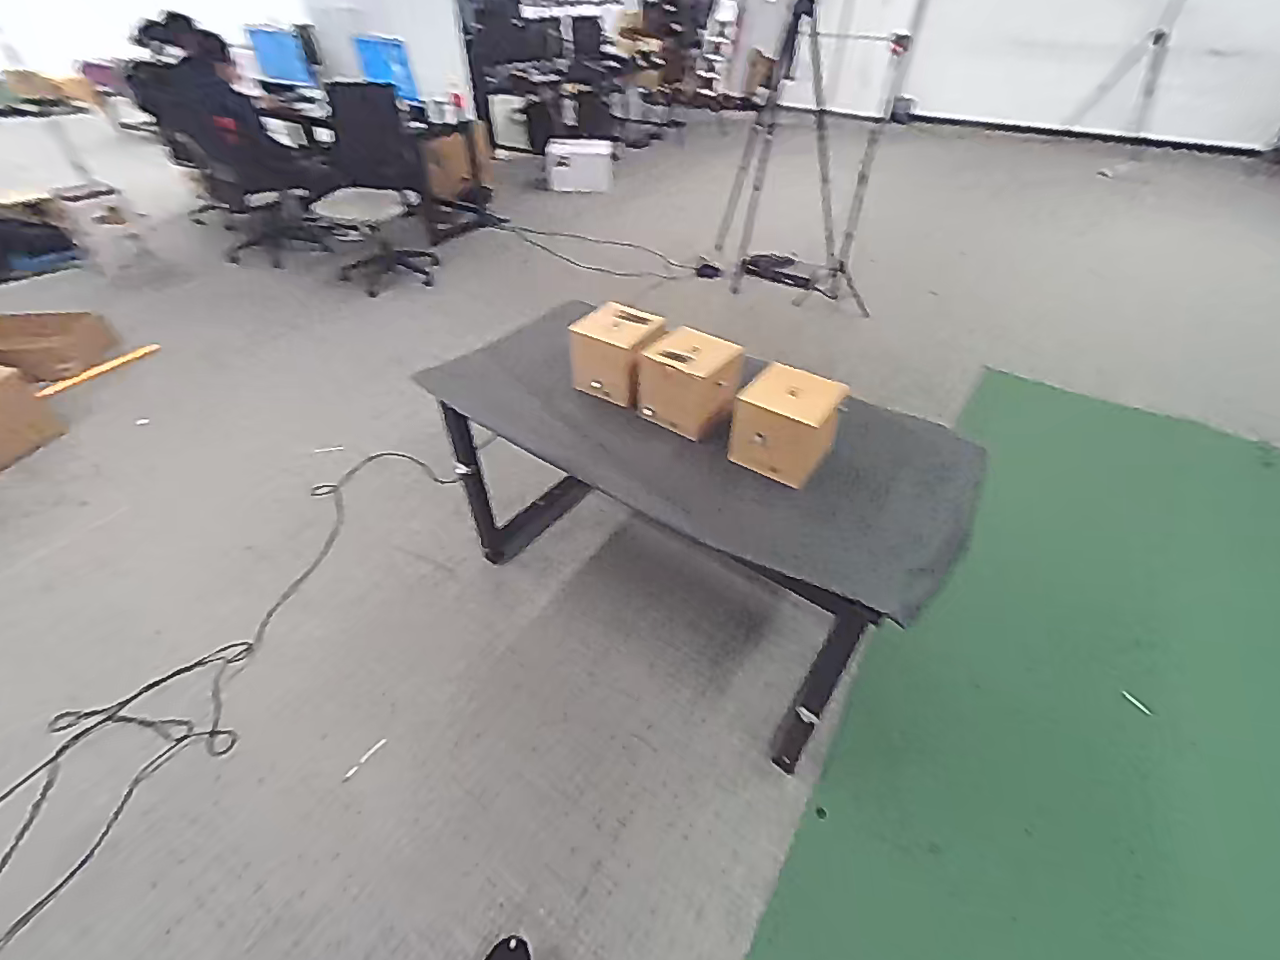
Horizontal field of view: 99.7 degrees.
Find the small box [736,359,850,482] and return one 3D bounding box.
[{"bbox_3d":[0.313,-0.123,1.133,0.168,0.176,0.179,26,48,25],"label":"small box"}]
